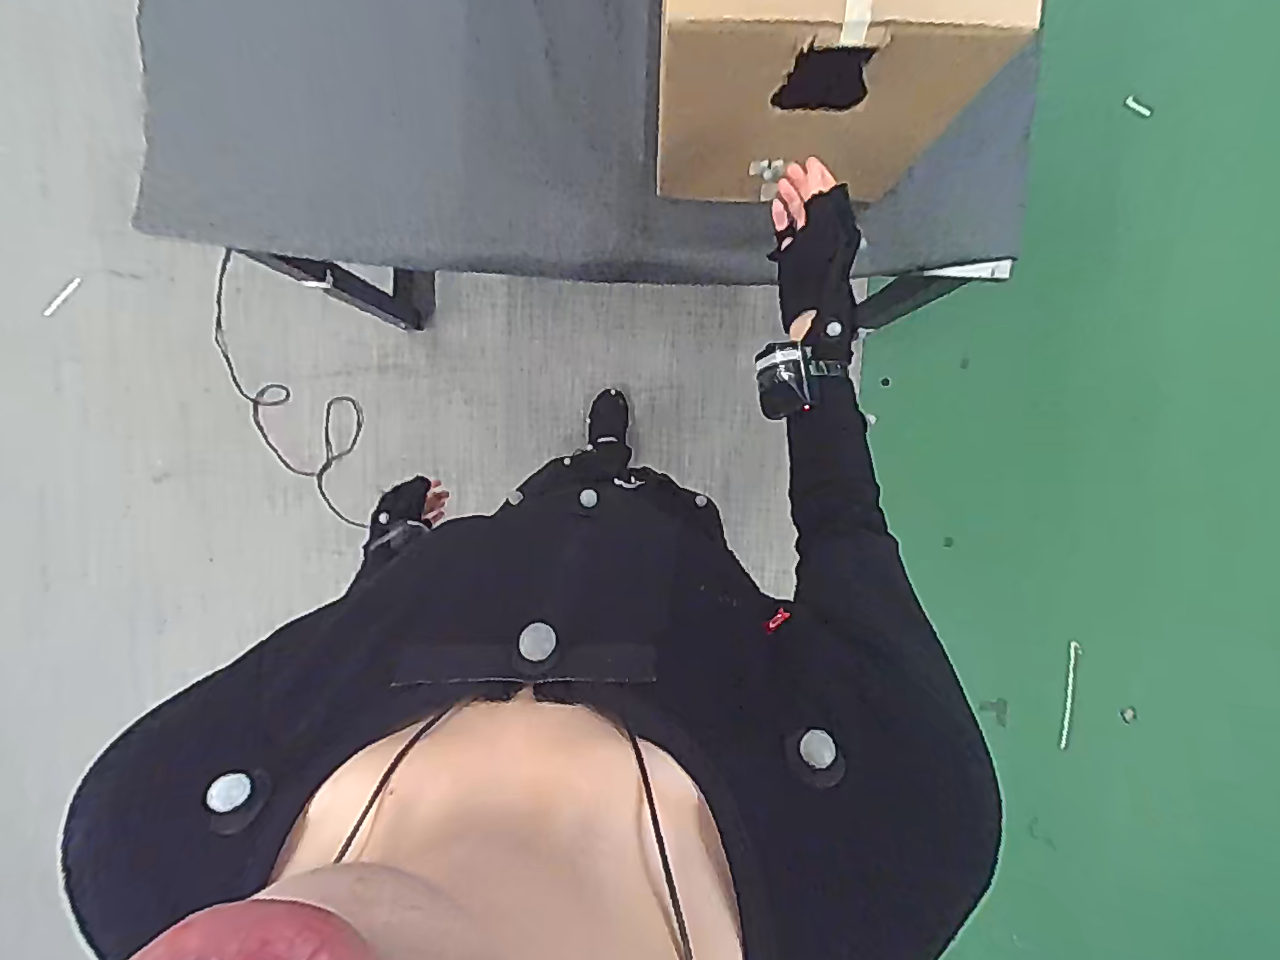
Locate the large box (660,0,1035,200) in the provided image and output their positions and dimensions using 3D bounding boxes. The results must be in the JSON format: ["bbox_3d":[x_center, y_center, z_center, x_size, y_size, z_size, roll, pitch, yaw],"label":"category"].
[{"bbox_3d":[0.180,-0.579,0.593,0.320,0.320,0.408,2,92,1],"label":"large box"}]
